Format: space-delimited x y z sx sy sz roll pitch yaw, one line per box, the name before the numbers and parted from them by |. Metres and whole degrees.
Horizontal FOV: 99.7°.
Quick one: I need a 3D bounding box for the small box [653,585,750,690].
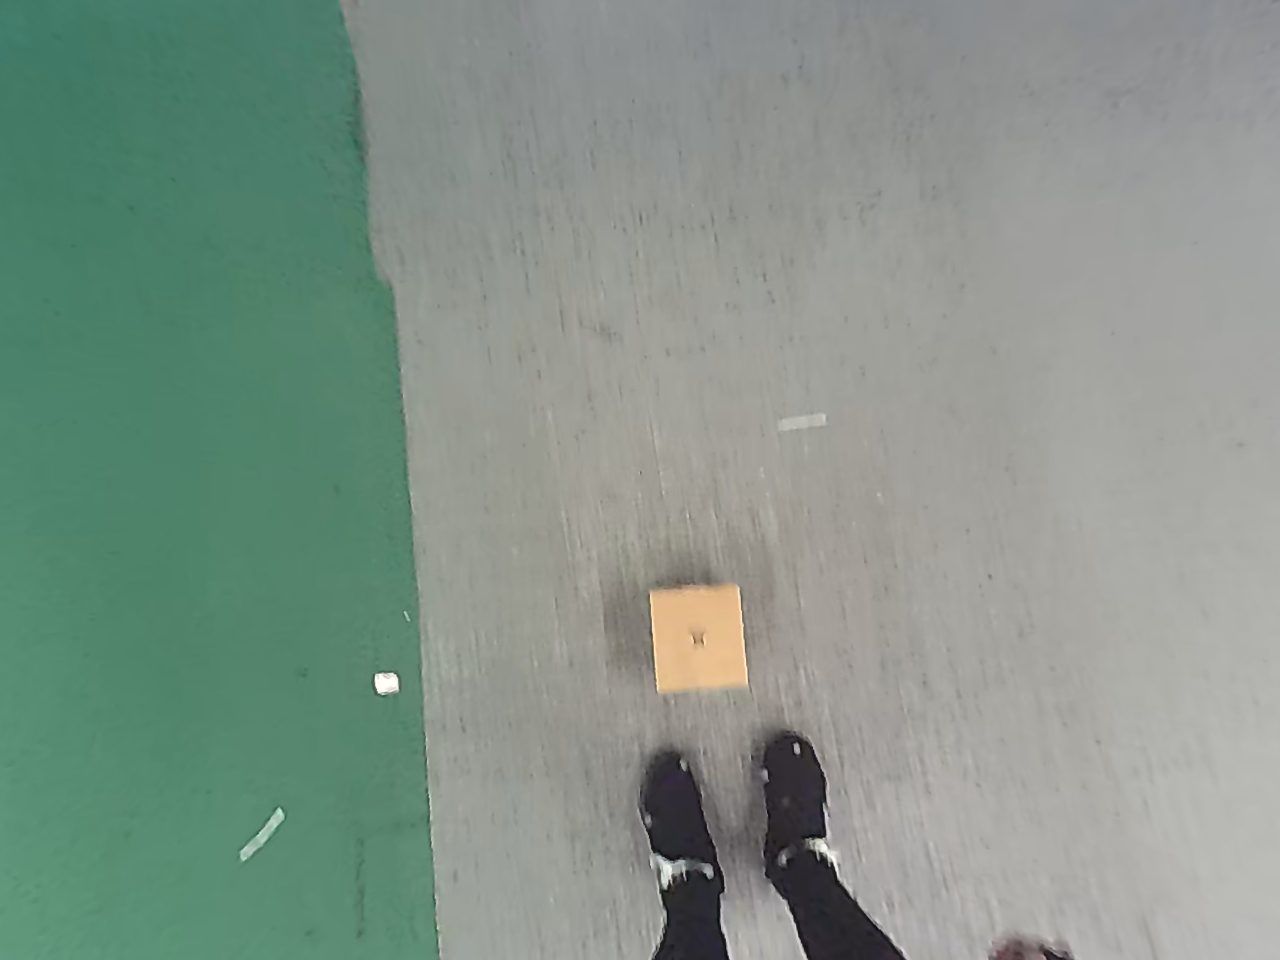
small box | 0.115 0.299 1.057 0.168 0.176 0.179 -5 79 2
